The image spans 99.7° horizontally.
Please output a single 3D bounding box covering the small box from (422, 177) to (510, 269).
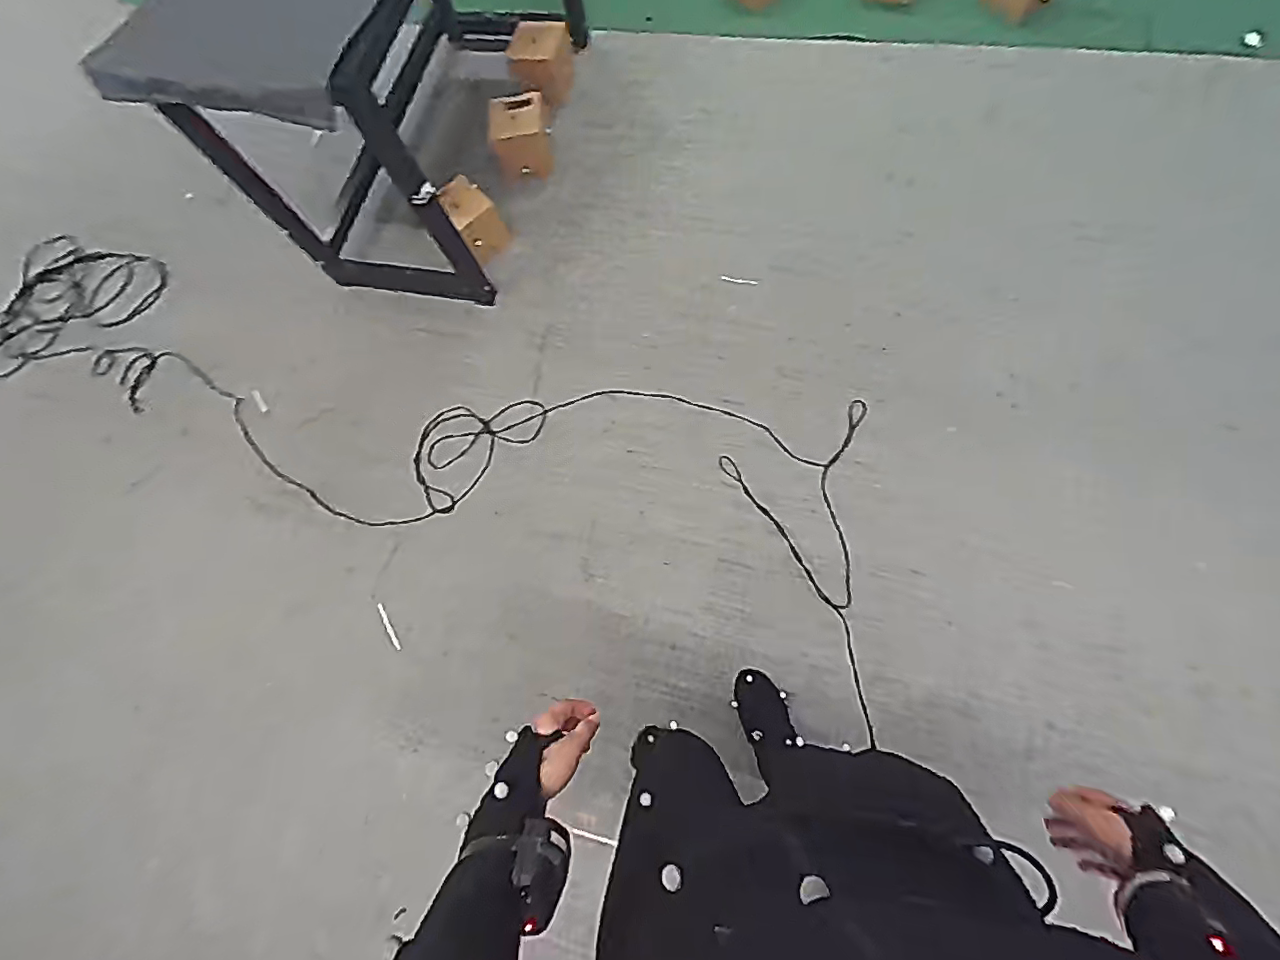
[{"bbox_3d":[-0.547,-0.808,1.722,0.168,0.176,0.179,-43,72,-6],"label":"small box"}]

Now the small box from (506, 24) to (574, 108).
[{"bbox_3d":[-0.340,-1.441,1.887,0.168,0.176,0.179,10,74,10],"label":"small box"}]

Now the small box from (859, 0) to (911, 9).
[{"bbox_3d":[0.859,-1.739,1.819,0.179,0.176,0.168,21,78,12],"label":"small box"}]

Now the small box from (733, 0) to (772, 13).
[{"bbox_3d":[0.412,-1.806,1.901,0.179,0.176,0.168,-42,72,-5],"label":"small box"}]

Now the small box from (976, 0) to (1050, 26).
[{"bbox_3d":[1.229,-1.615,1.730,0.168,0.176,0.179,-35,73,-4],"label":"small box"}]
